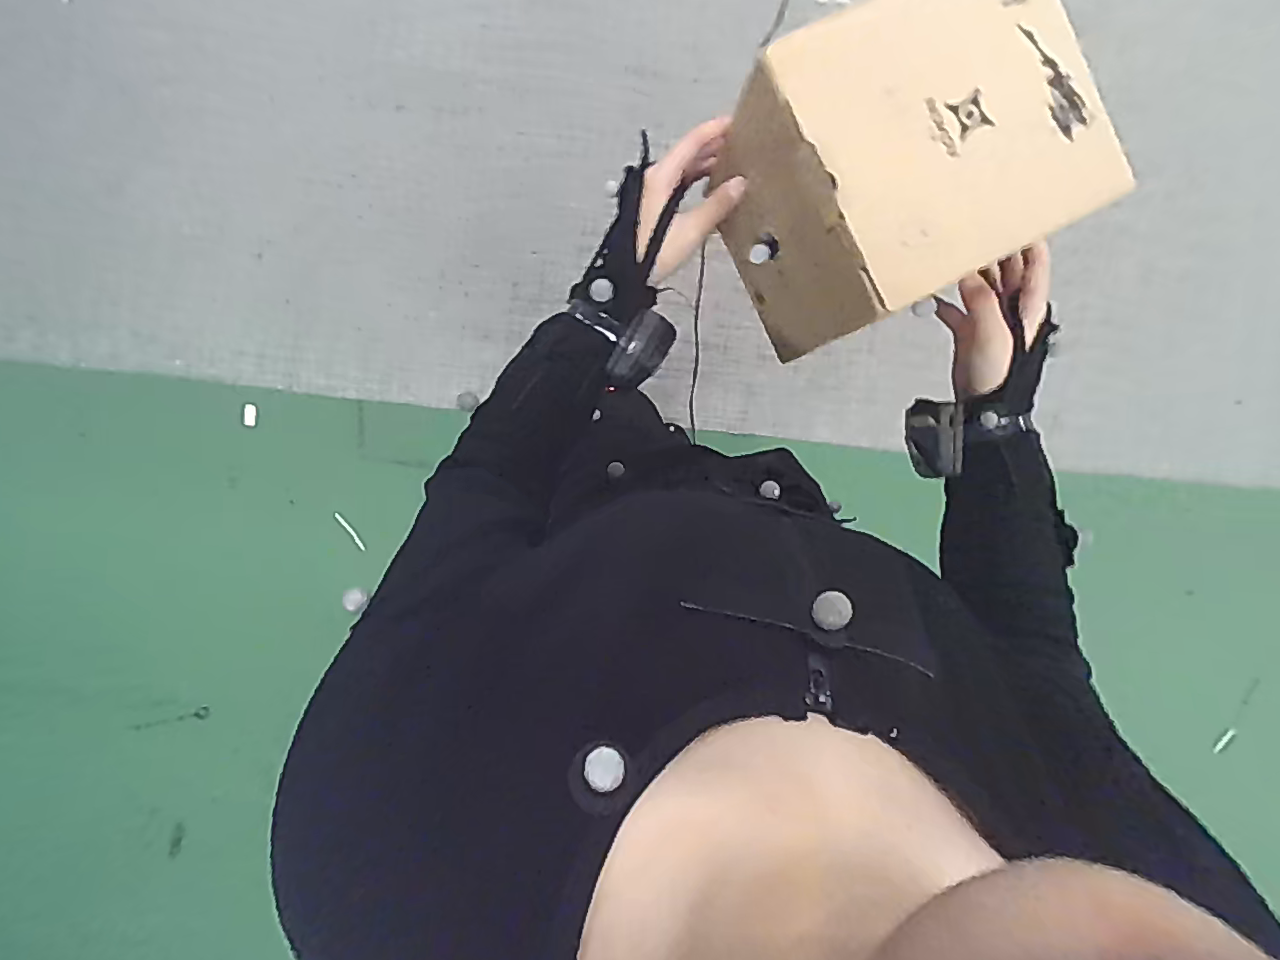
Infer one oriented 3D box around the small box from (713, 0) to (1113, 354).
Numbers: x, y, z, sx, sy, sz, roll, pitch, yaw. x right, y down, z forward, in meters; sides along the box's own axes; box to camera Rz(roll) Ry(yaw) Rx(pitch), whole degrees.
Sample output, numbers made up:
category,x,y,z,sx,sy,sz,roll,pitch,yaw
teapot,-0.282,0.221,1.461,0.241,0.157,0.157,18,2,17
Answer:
category,x,y,z,sx,sy,sz,roll,pitch,yaw
small box,0.166,-0.211,0.395,0.179,0.176,0.168,-28,94,-2
